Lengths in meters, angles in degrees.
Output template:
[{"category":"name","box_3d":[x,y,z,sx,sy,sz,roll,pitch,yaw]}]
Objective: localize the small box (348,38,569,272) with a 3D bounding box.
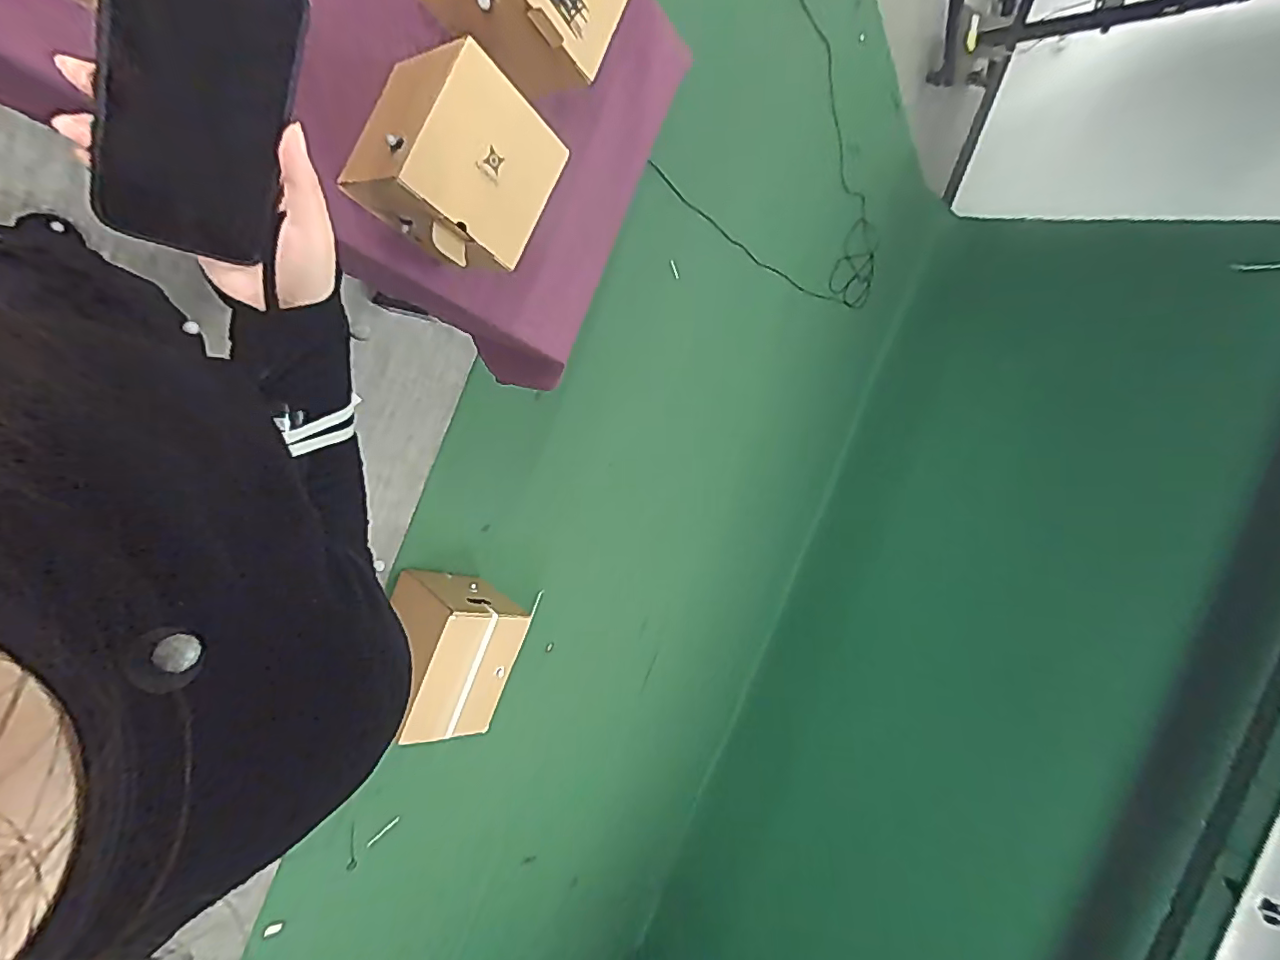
[{"category":"small box","box_3d":[-0.228,-0.388,0.672,0.168,0.176,0.179,28,87,-51]}]
